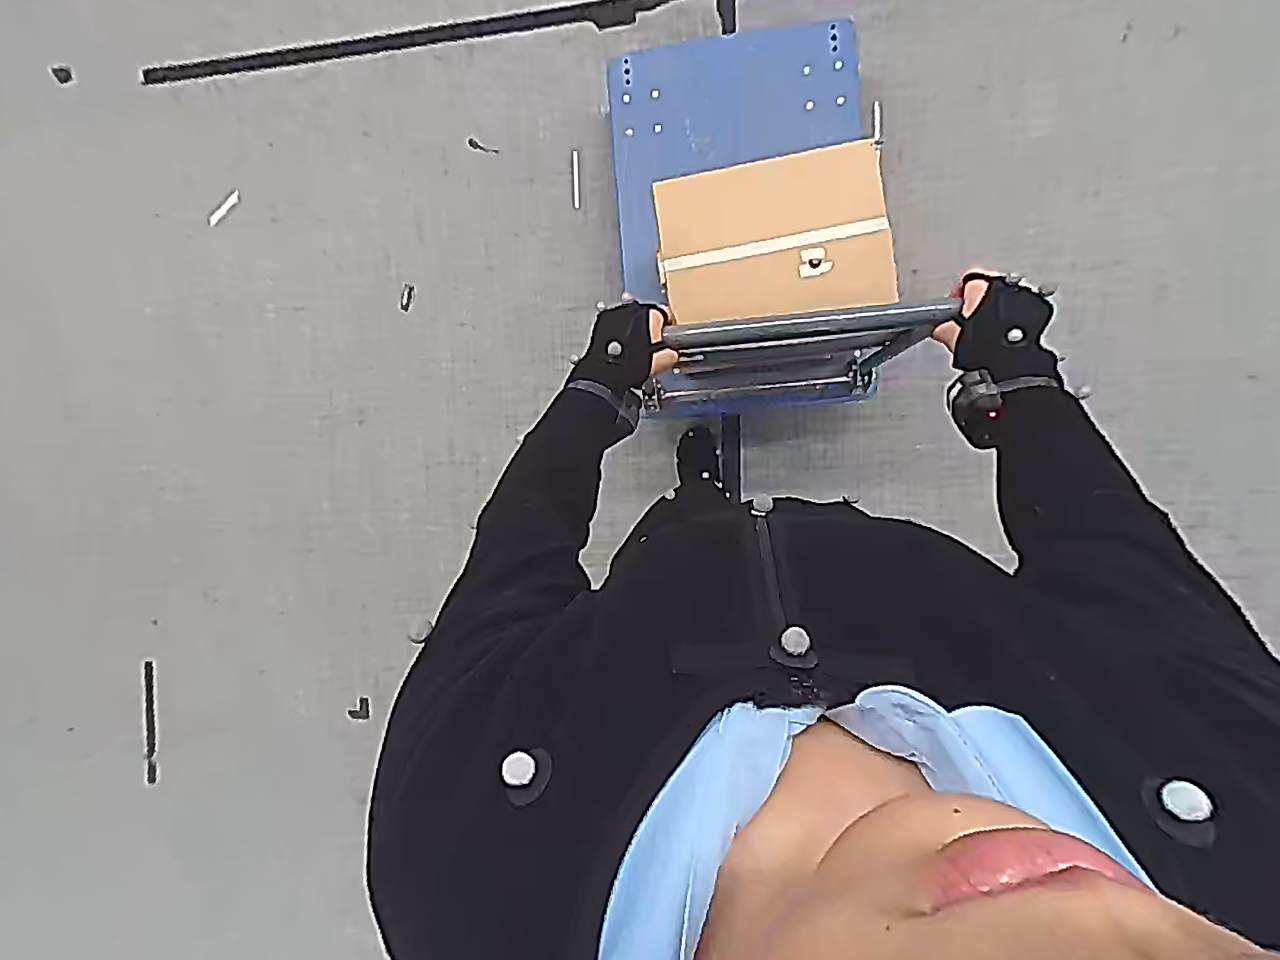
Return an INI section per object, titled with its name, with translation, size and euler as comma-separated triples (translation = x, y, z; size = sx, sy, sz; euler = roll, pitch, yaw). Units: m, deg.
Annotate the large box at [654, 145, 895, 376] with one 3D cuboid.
[large box]
translation = 0.256, -0.426, 1.141
size = 0.408, 0.320, 0.320
euler = -9, 91, 5
